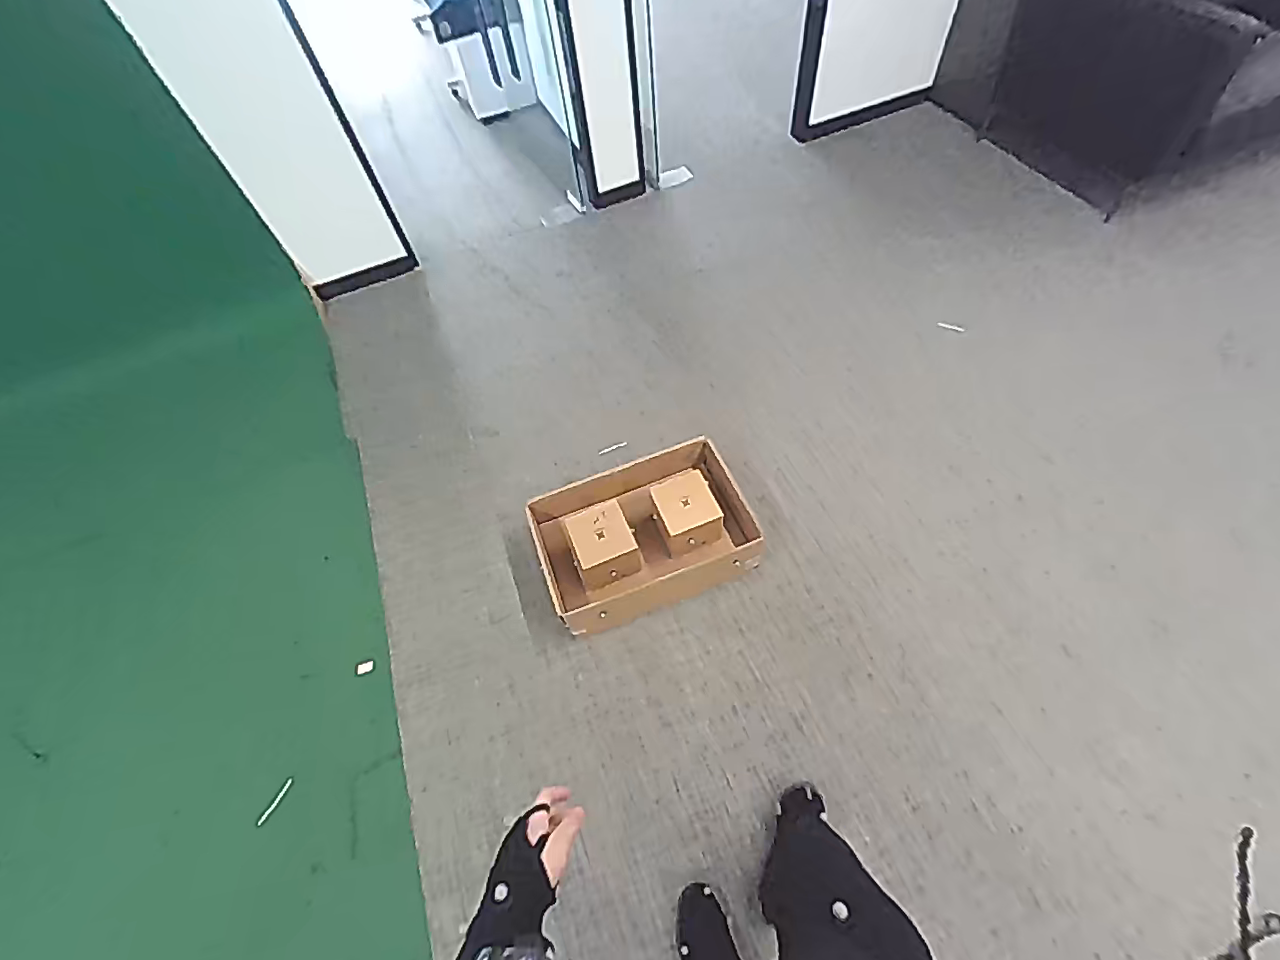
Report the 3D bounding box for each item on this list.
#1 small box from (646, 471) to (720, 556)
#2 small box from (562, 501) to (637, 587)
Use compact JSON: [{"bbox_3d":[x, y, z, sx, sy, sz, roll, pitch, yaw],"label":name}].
[{"bbox_3d":[0.131,0.110,1.628,0.168,0.176,0.179,-21,58,-7],"label":"small box"},{"bbox_3d":[-0.114,0.196,1.592,0.168,0.176,0.179,-20,58,-9],"label":"small box"}]
